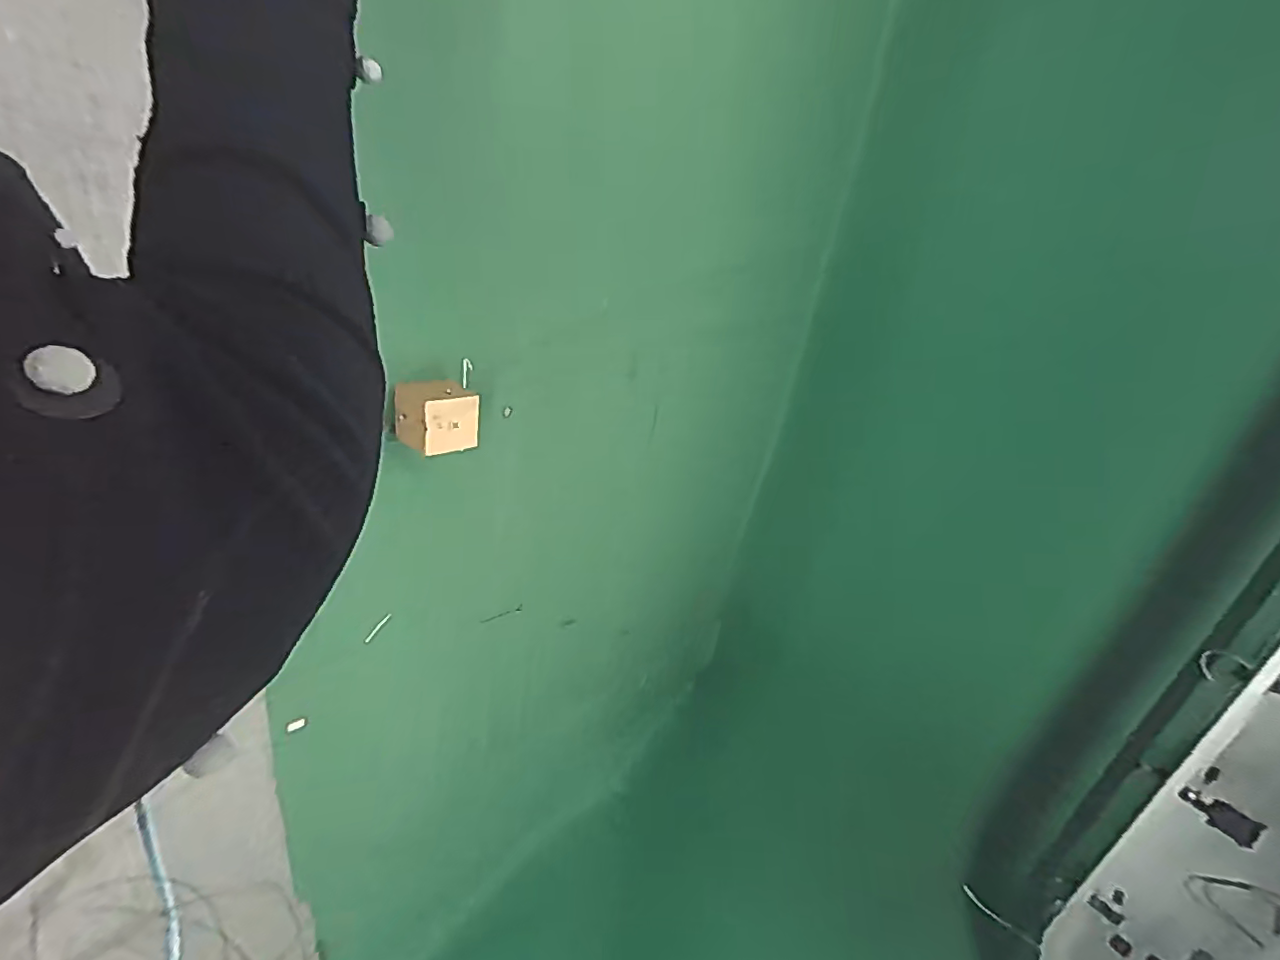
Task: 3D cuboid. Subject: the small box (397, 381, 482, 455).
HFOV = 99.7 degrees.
[{"bbox_3d":[-0.598,-0.191,1.609,0.179,0.176,0.168,-18,126,-47],"label":"small box"}]
